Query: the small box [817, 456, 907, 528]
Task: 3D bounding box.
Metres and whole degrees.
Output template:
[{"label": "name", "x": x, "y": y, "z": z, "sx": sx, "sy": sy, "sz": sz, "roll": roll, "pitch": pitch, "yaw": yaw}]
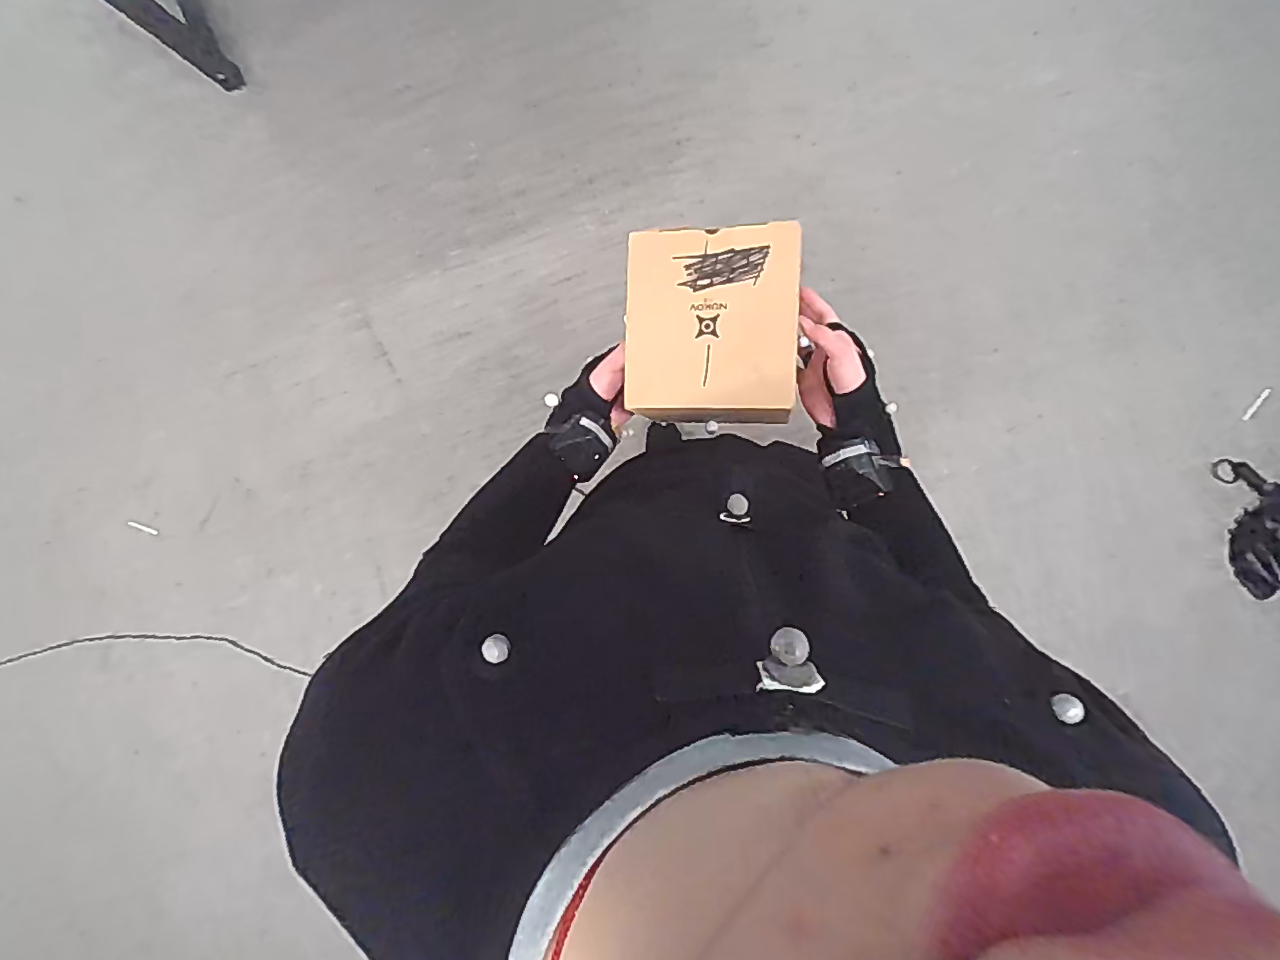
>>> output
[{"label": "small box", "x": 0.601, "y": 0.028, "z": 1.476, "sx": 0.179, "sy": 0.176, "sz": 0.168, "roll": -7, "pitch": 95, "yaw": 3}]
